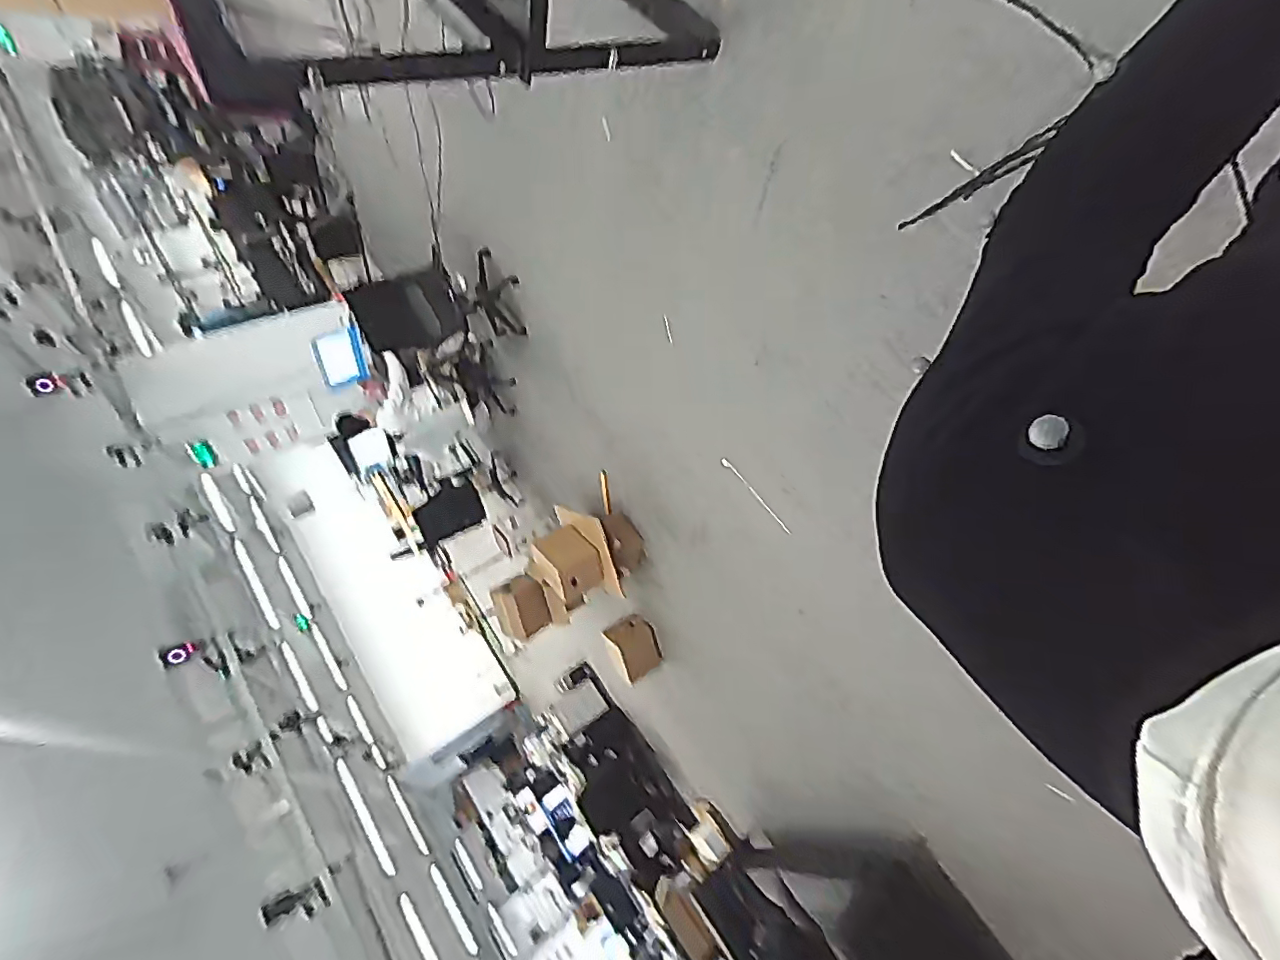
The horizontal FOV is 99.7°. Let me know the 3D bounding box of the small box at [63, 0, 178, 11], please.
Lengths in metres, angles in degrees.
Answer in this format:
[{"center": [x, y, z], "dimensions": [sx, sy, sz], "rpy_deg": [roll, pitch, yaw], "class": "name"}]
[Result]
[{"center": [-0.958, -0.955, 0.936], "dimensions": [0.168, 0.176, 0.179], "rpy_deg": [52, 151, 20], "class": "small box"}]
